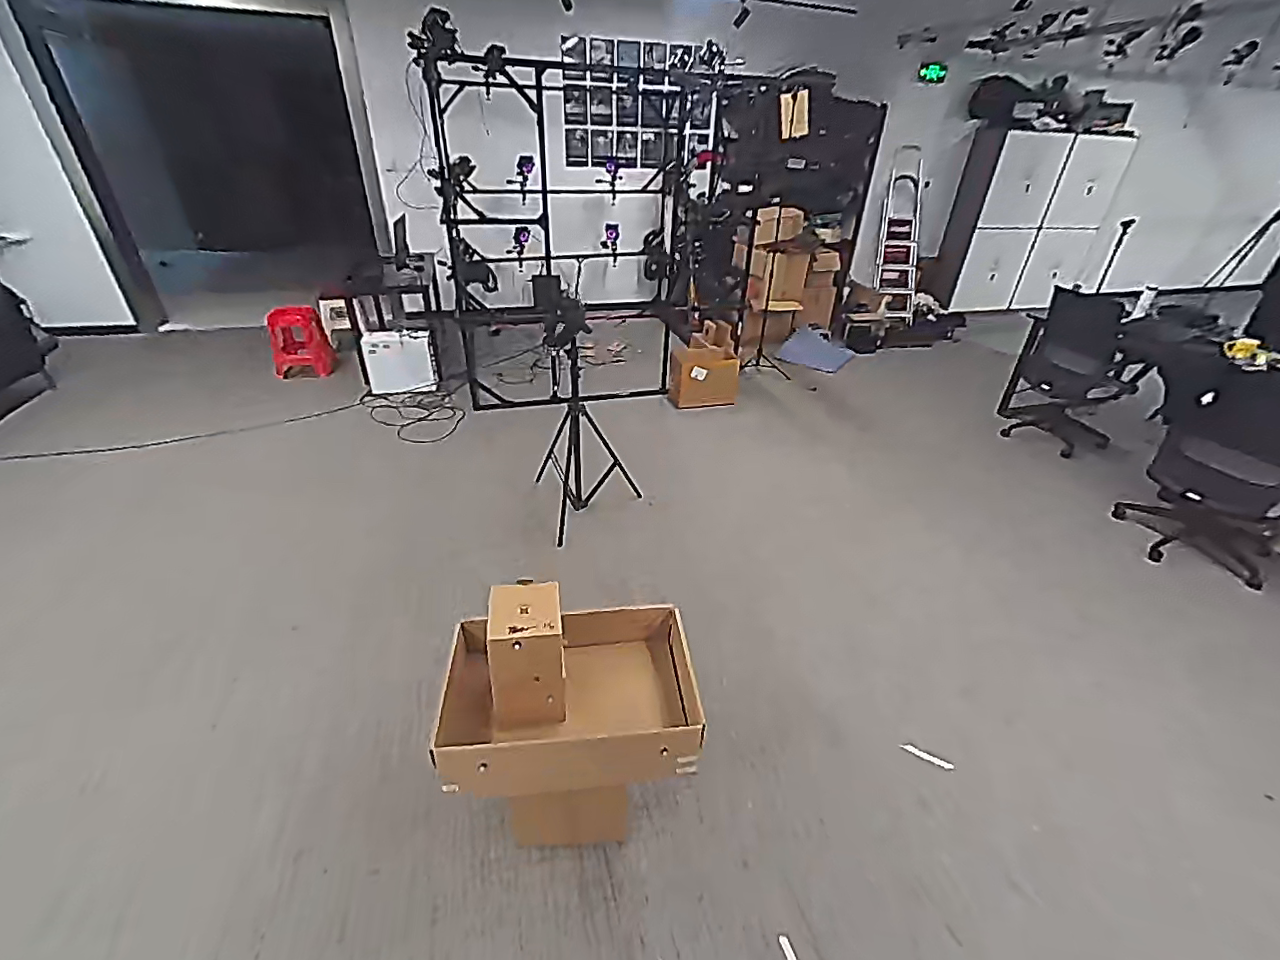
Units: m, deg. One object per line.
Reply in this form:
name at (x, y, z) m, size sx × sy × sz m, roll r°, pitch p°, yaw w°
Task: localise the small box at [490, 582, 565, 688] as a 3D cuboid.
small box at (-0.267, 0.371, 1.301) m, size 0.168 × 0.176 × 0.179 m, roll -2°, pitch 31°, yaw -10°
